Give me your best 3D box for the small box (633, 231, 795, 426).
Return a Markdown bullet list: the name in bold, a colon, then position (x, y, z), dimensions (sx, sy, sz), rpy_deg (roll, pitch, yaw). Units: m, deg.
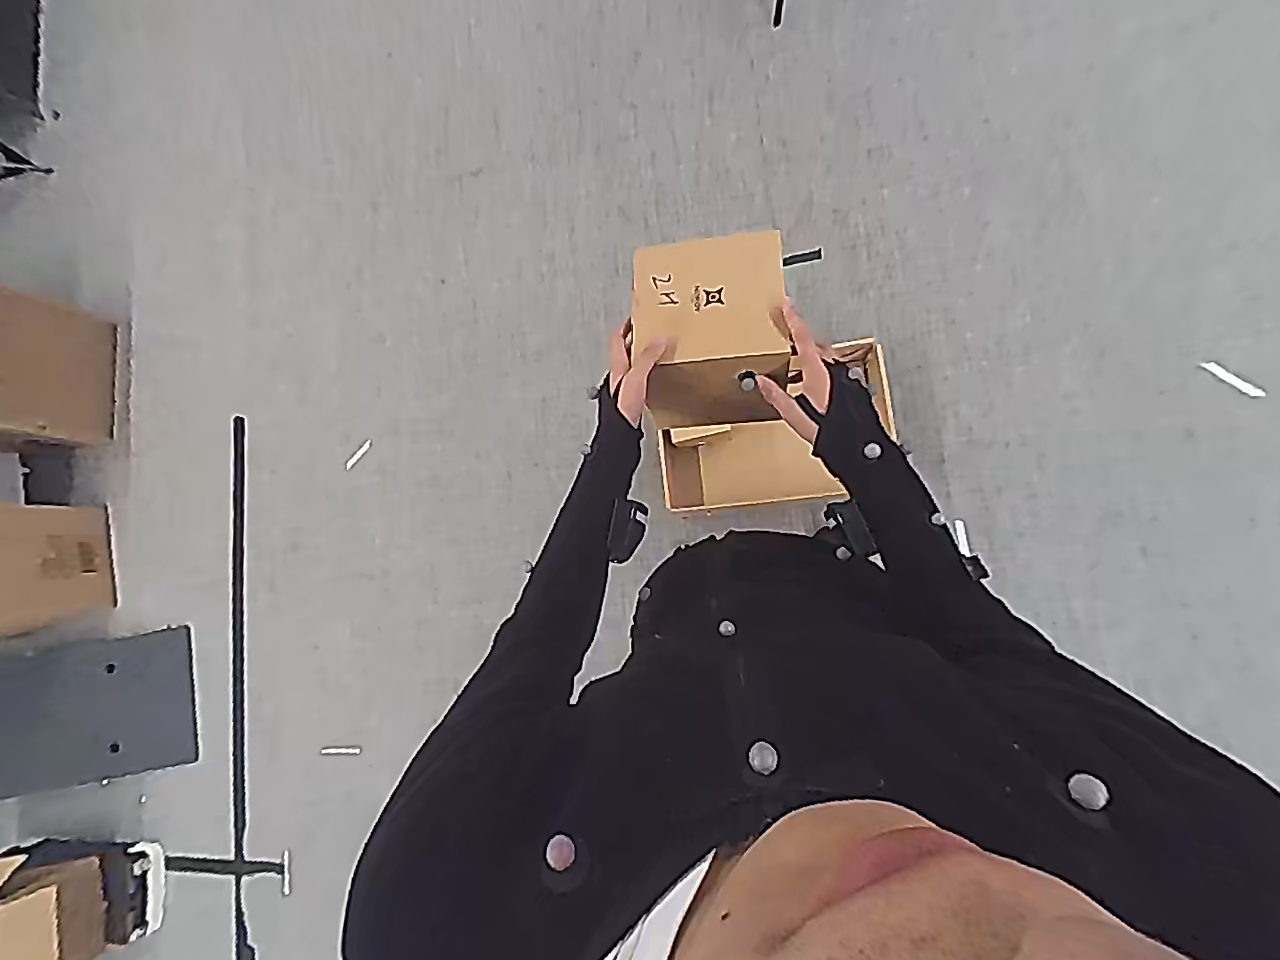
- **small box**: position (0.093, -0.178, 0.680), dimensions (0.179, 0.176, 0.168), rpy_deg (-3, 71, 11)
